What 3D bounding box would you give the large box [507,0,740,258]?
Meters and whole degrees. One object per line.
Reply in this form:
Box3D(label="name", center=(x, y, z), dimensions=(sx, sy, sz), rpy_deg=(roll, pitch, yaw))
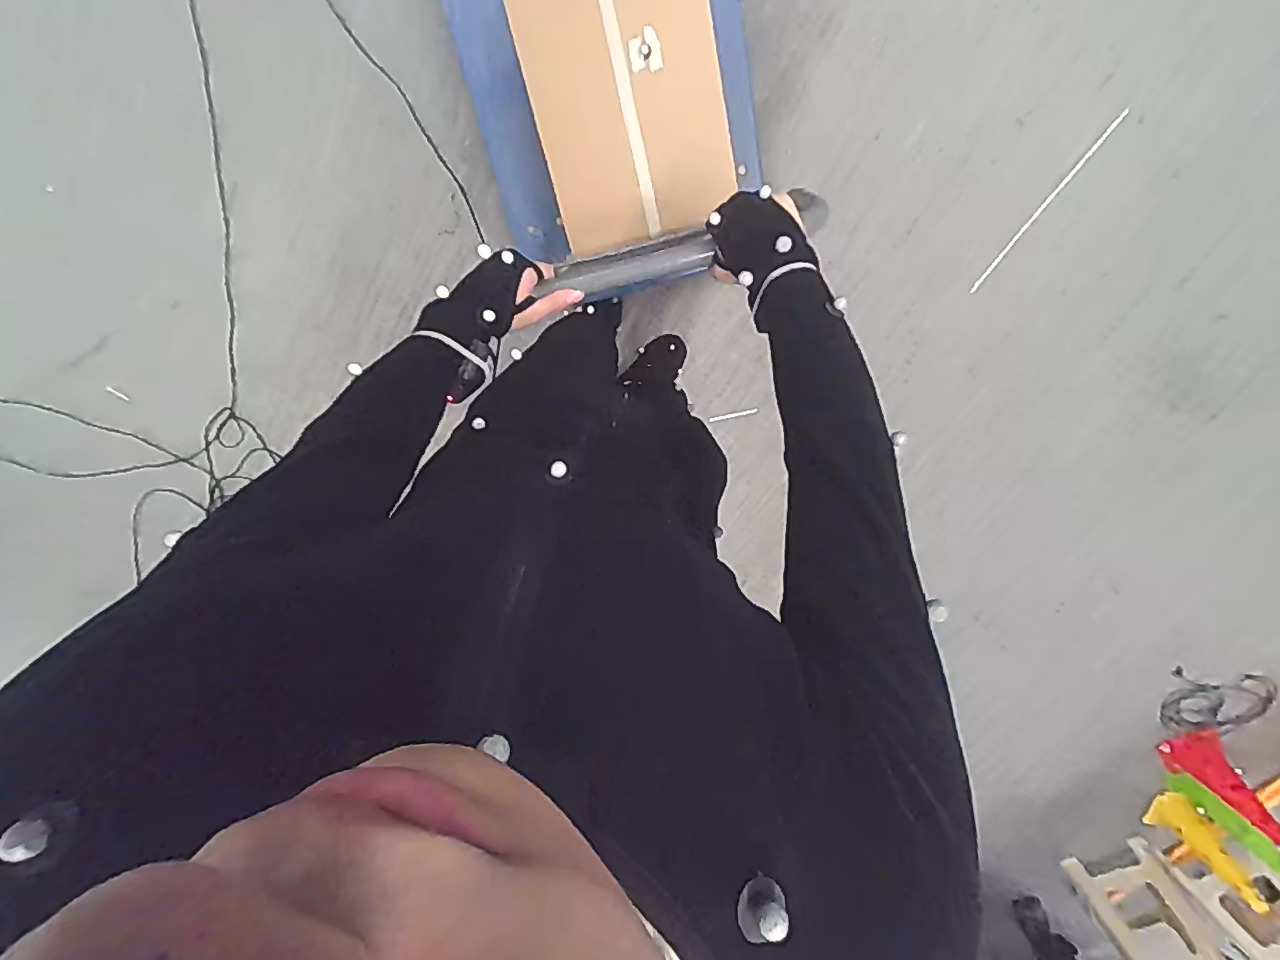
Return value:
Box3D(label="large box", center=(-0.007, -0.680, 1.050), dimensions=(0.320, 0.320, 0.408), rpy_deg=(-12, 111, 8))
